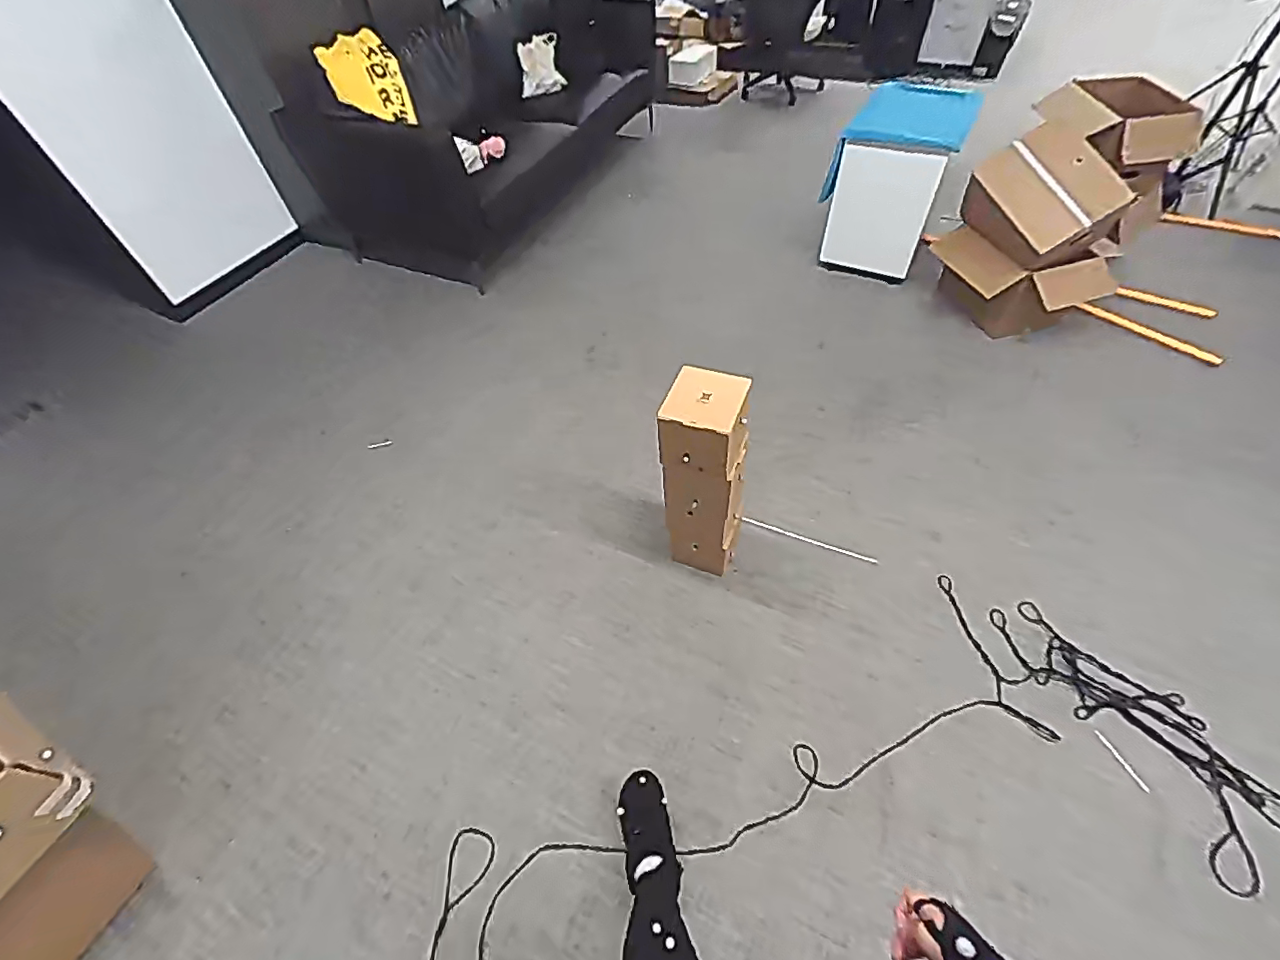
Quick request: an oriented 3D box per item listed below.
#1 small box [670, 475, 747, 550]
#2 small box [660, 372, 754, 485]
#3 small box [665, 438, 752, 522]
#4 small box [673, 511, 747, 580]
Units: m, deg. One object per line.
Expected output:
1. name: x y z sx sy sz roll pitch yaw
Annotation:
1. small box: 0.189 0.073 1.516 0.179 0.176 0.168 17 56 18
2. small box: 0.155 -0.118 1.252 0.168 0.176 0.179 15 56 18
3. small box: 0.173 -0.016 1.380 0.179 0.176 0.168 16 55 16
4. small box: 0.210 0.179 1.639 0.179 0.176 0.168 17 55 18
